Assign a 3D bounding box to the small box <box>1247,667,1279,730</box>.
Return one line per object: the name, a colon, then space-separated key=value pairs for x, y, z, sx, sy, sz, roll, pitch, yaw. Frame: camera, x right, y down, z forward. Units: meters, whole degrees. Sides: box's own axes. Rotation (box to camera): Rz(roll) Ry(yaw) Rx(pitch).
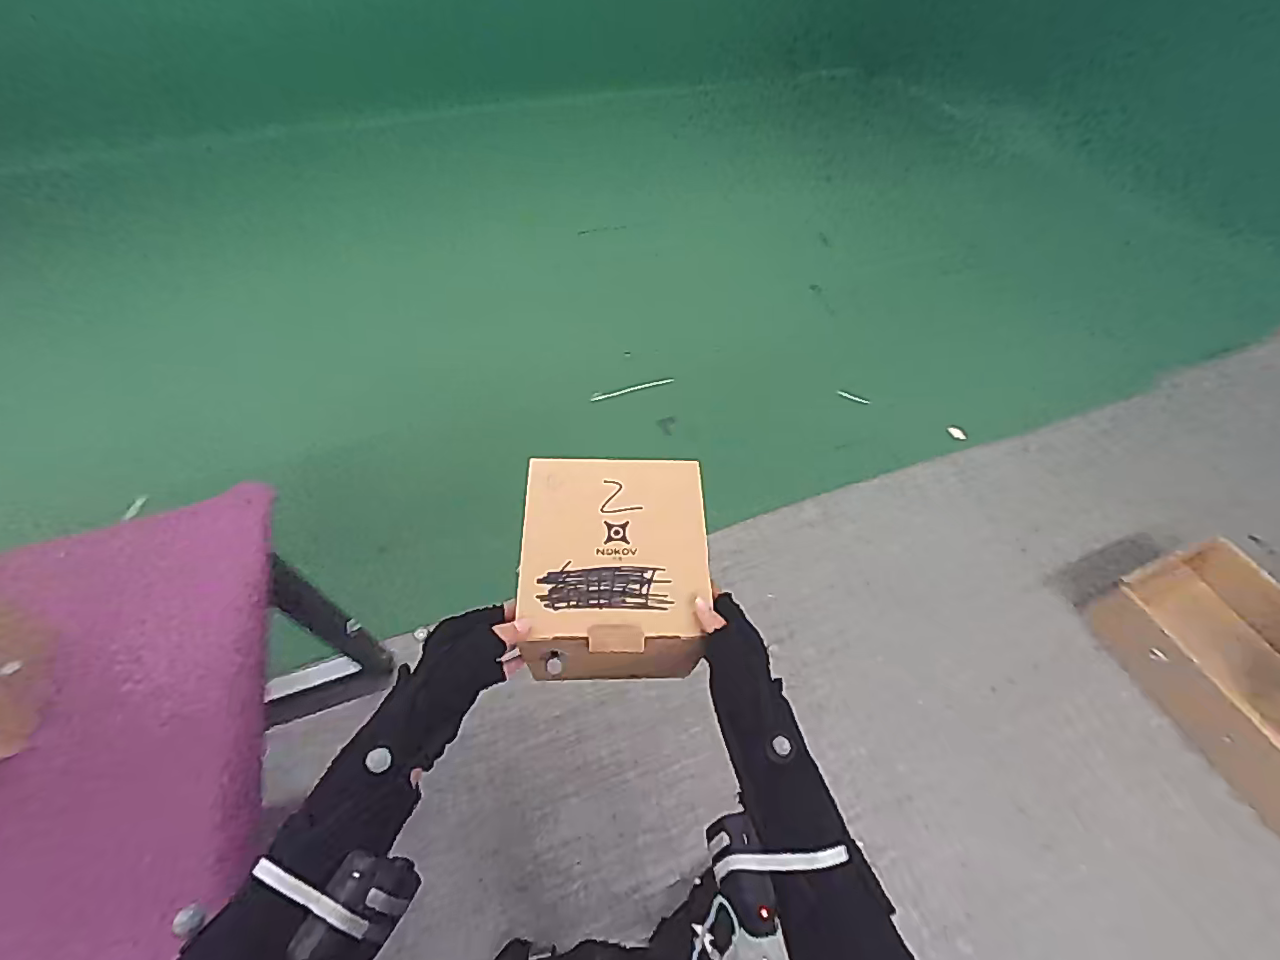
small box: x=1.647 y=0.535 z=1.298 sx=0.179 sy=0.176 sz=0.168 roll=-22 pitch=57 yaw=-17
